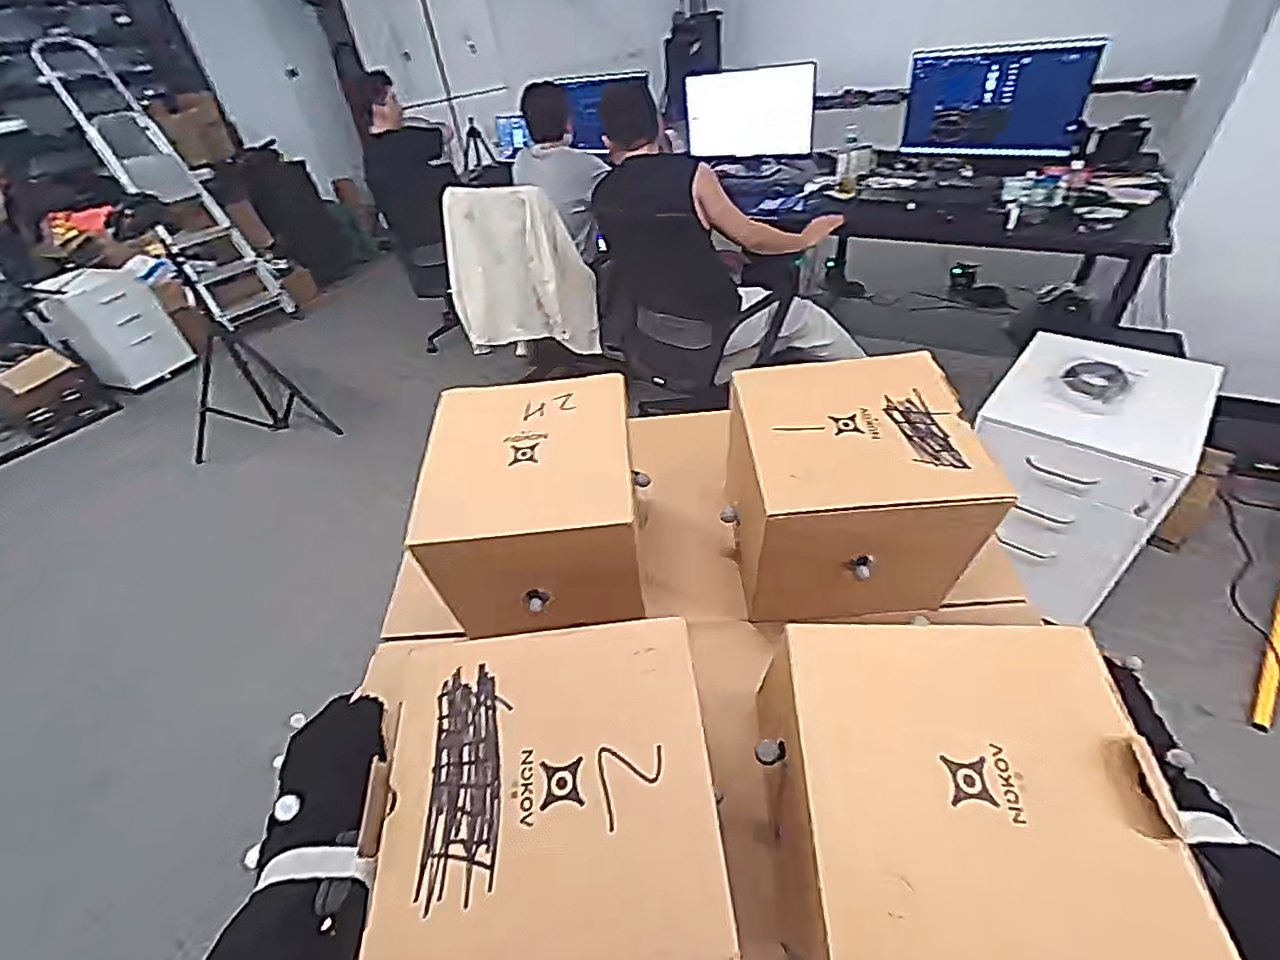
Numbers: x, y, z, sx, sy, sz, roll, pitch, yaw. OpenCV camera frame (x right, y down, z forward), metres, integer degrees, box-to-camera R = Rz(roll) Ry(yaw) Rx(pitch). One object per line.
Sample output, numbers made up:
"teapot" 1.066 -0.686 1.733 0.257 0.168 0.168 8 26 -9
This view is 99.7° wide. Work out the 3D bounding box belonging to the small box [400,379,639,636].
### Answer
"small box" -0.092 0.032 0.501 0.168 0.176 0.179 -5 48 0
